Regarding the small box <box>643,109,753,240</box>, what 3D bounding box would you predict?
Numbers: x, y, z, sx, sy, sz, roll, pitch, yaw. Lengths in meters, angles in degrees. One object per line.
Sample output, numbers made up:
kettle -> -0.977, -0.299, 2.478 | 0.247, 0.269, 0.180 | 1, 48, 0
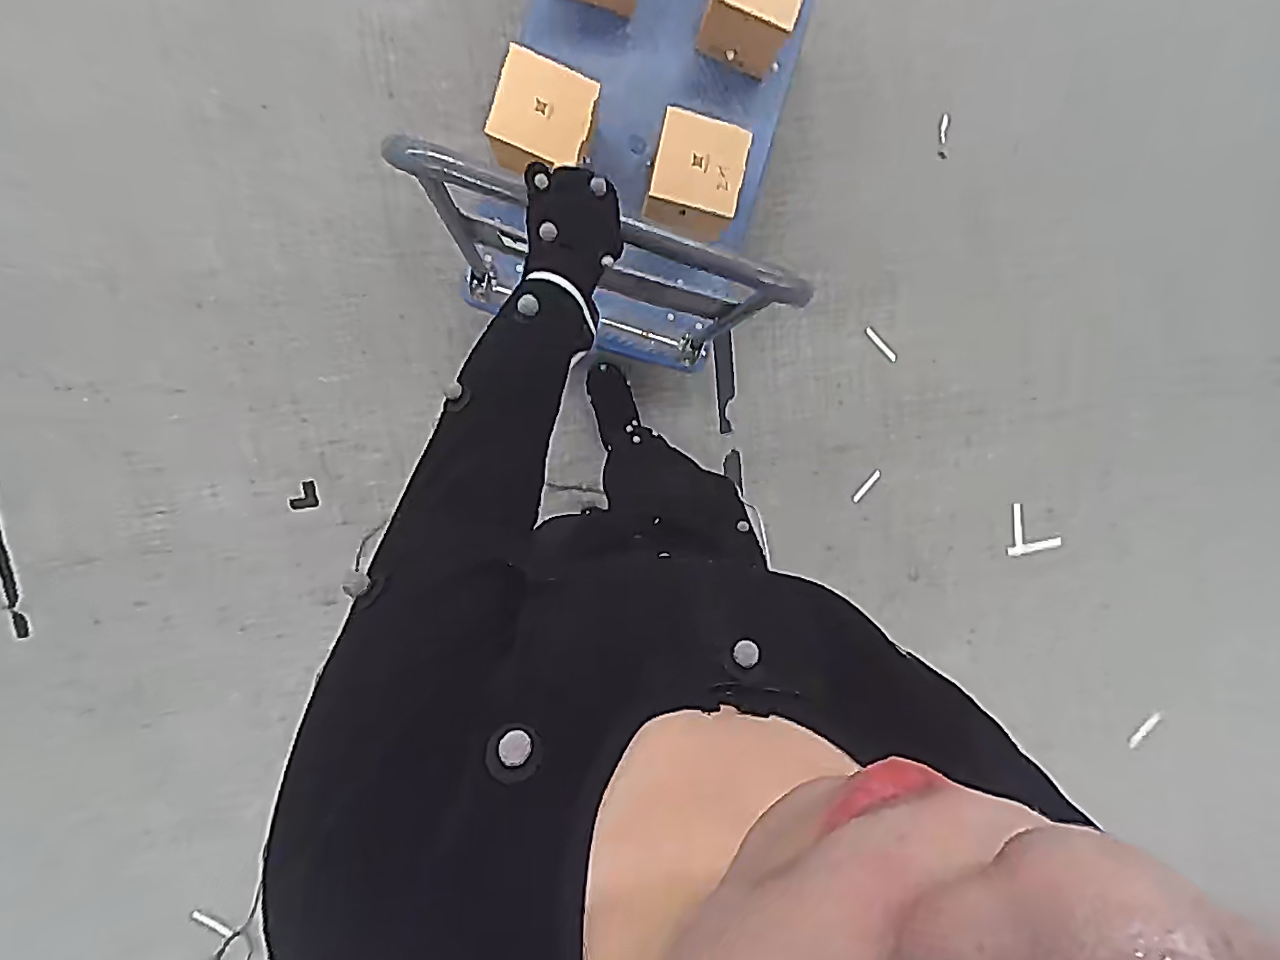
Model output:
small box -> 0.110, -0.619, 1.122 | 0.179, 0.176, 0.168 | 12, 97, -8

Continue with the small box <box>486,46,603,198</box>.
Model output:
small box -> -0.187, -0.696, 1.077 | 0.179, 0.176, 0.168 | 19, 96, -11

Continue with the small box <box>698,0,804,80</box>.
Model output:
small box -> 0.230, -0.963, 1.083 | 0.168, 0.176, 0.179 | 17, 97, -9
